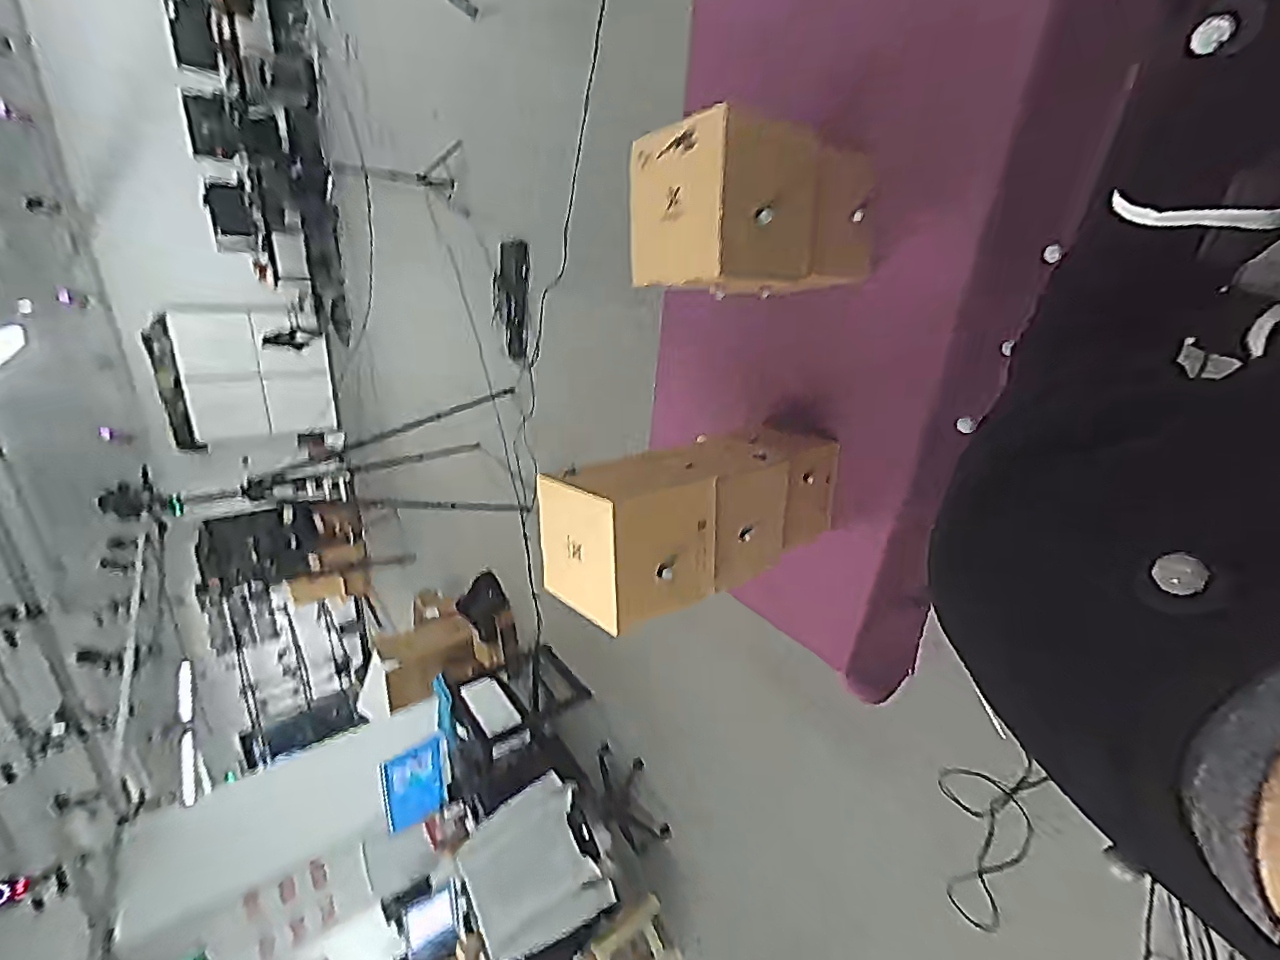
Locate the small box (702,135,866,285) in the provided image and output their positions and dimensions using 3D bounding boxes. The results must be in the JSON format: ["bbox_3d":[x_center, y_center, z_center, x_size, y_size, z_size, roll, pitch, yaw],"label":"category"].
[{"bbox_3d":[0.212,-0.390,0.817,0.179,0.176,0.168,14,113,50],"label":"small box"}]

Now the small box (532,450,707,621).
[{"bbox_3d":[-0.025,0.059,0.728,0.179,0.176,0.168,17,113,50],"label":"small box"}]

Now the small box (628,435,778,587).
[{"bbox_3d":[0.095,0.034,0.836,0.168,0.176,0.179,22,117,48],"label":"small box"}]

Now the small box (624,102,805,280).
[{"bbox_3d":[0.096,-0.356,0.704,0.168,0.176,0.179,20,117,48],"label":"small box"}]

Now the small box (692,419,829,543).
[{"bbox_3d":[0.207,-0.007,0.951,0.179,0.176,0.168,23,118,48],"label":"small box"}]
